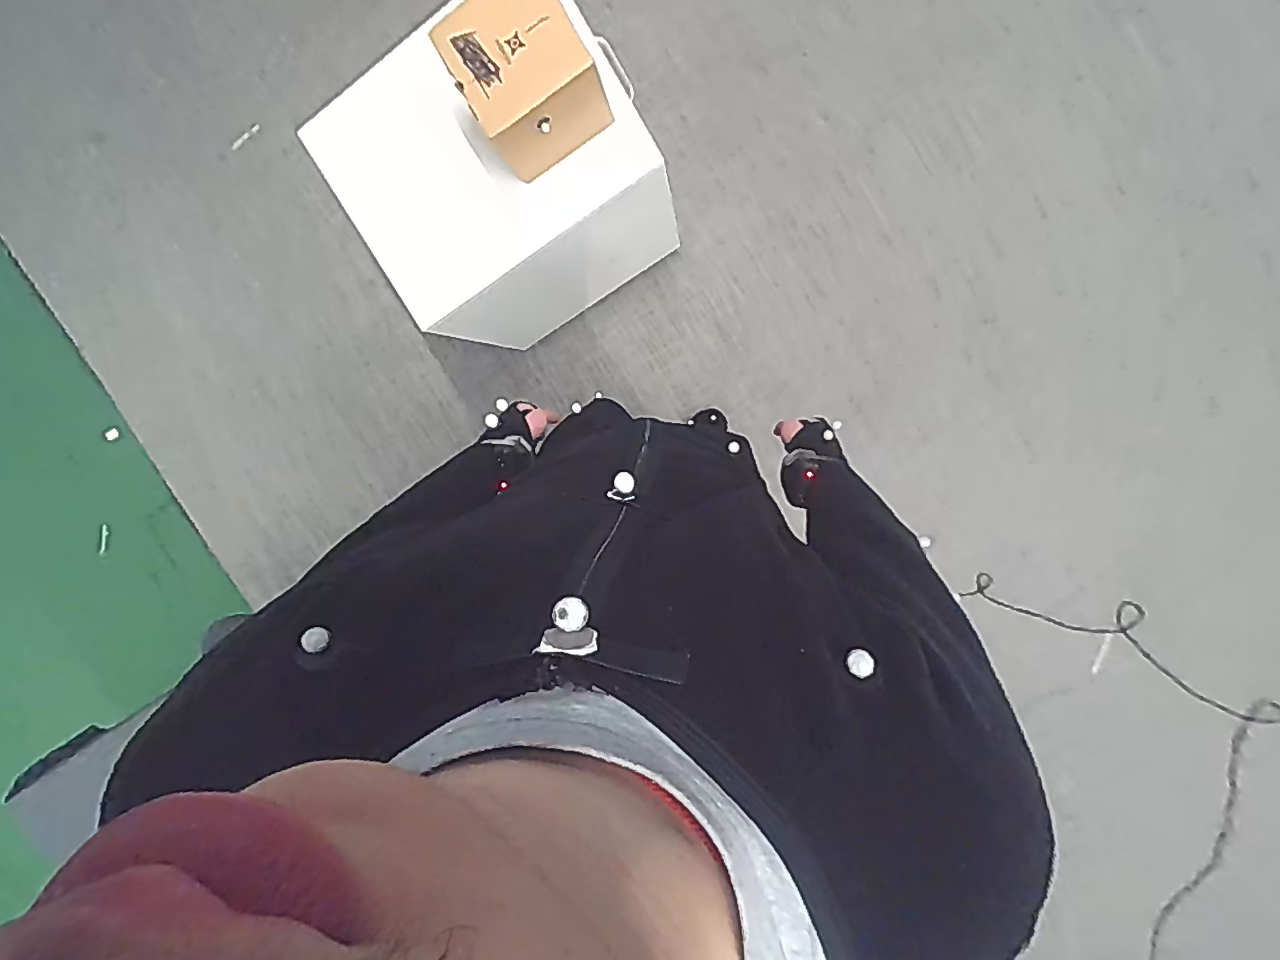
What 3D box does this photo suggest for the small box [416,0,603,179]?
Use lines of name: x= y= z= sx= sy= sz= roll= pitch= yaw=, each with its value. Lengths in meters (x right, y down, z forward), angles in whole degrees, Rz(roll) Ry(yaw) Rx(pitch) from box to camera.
small box: x=-0.172 y=-0.576 z=0.775 sx=0.179 sy=0.176 sz=0.168 roll=-31 pitch=96 yaw=8
